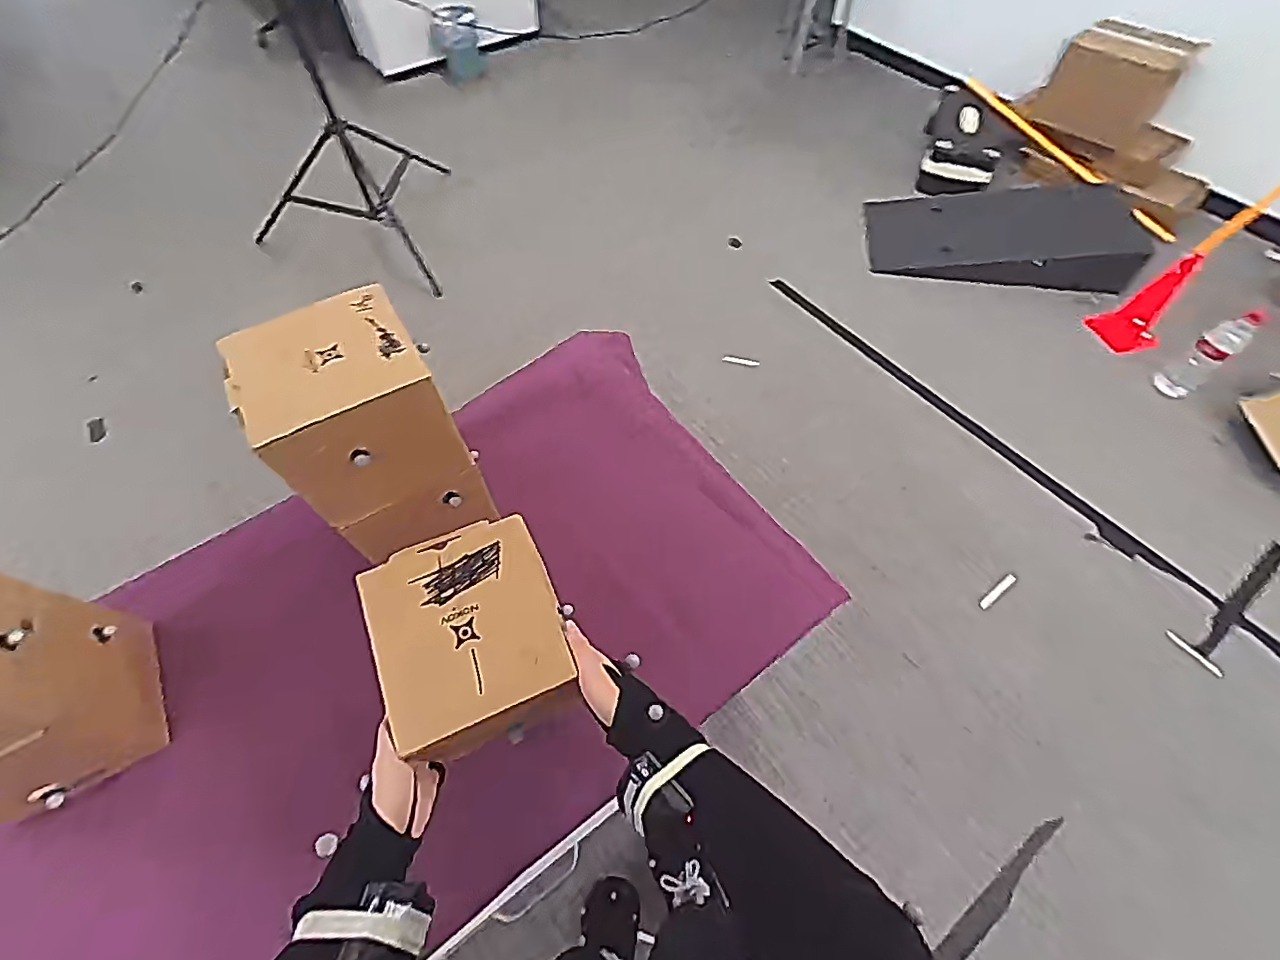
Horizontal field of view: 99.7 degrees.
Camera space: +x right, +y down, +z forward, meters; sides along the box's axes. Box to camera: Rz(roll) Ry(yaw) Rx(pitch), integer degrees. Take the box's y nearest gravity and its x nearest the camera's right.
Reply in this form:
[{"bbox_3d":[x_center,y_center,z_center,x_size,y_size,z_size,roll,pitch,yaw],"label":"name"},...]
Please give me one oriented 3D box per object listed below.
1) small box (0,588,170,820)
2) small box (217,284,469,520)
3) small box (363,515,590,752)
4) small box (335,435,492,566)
[{"bbox_3d":[-0.682,0.256,0.604,0.168,0.176,0.179,-28,65,-15],"label":"small box"},{"bbox_3d":[-0.325,-0.082,0.619,0.179,0.176,0.168,-29,64,-16],"label":"small box"},{"bbox_3d":[-0.161,0.168,0.571,0.168,0.176,0.179,-21,66,-10],"label":"small box"},{"bbox_3d":[-0.324,0.003,0.759,0.179,0.176,0.168,-30,64,-17],"label":"small box"}]
